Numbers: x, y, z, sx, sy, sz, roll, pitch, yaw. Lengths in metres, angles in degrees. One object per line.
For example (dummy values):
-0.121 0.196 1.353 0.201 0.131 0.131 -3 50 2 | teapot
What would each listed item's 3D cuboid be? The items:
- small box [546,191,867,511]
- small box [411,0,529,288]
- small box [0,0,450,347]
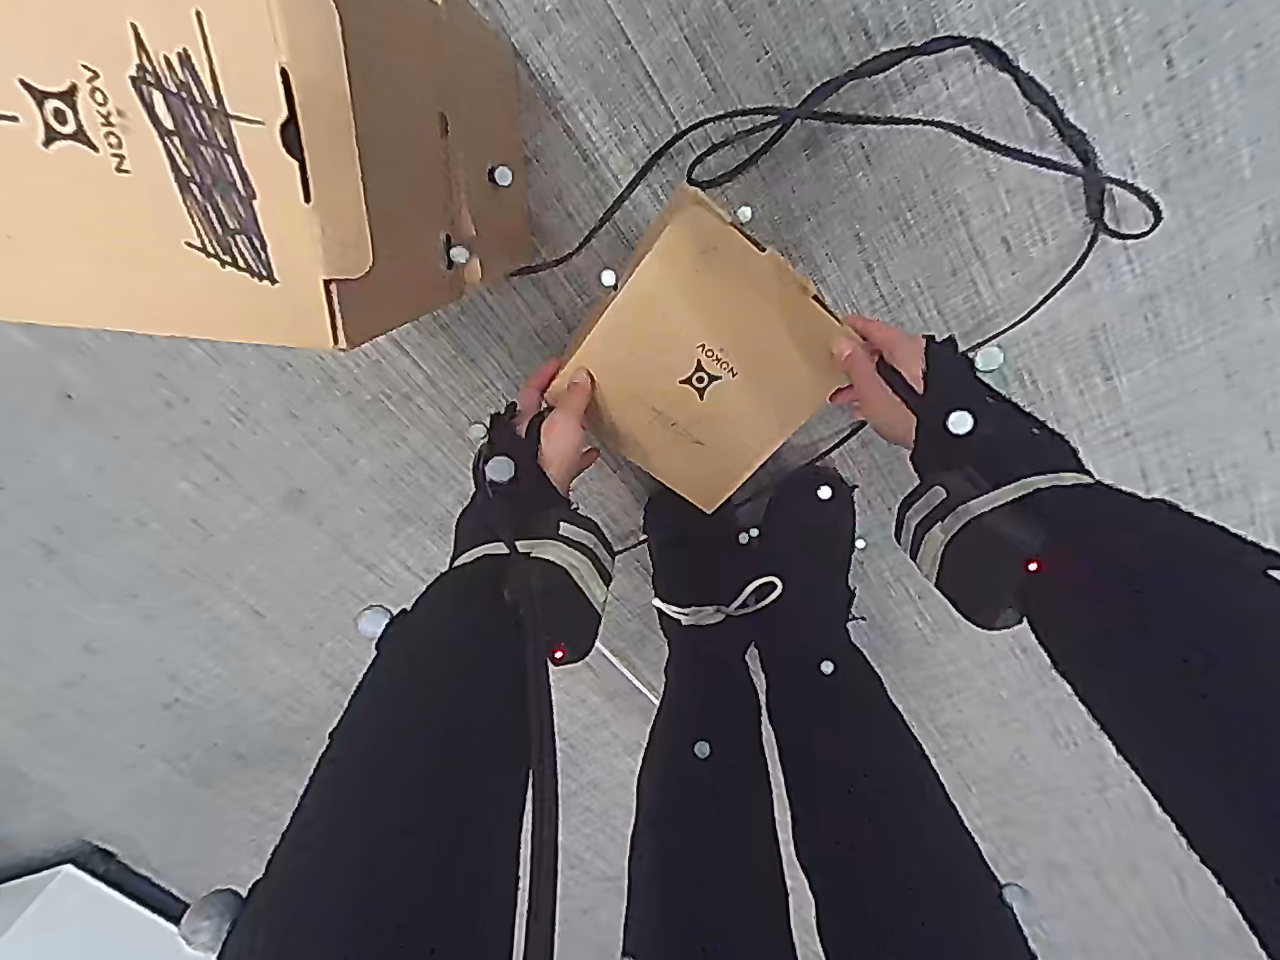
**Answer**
0.046 -0.115 0.456 0.168 0.176 0.179 35 115 -15 | small box
-0.193 -0.257 0.431 0.168 0.176 0.179 1 118 3 | small box
-0.212 -0.178 0.286 0.179 0.176 0.168 6 117 1 | small box
